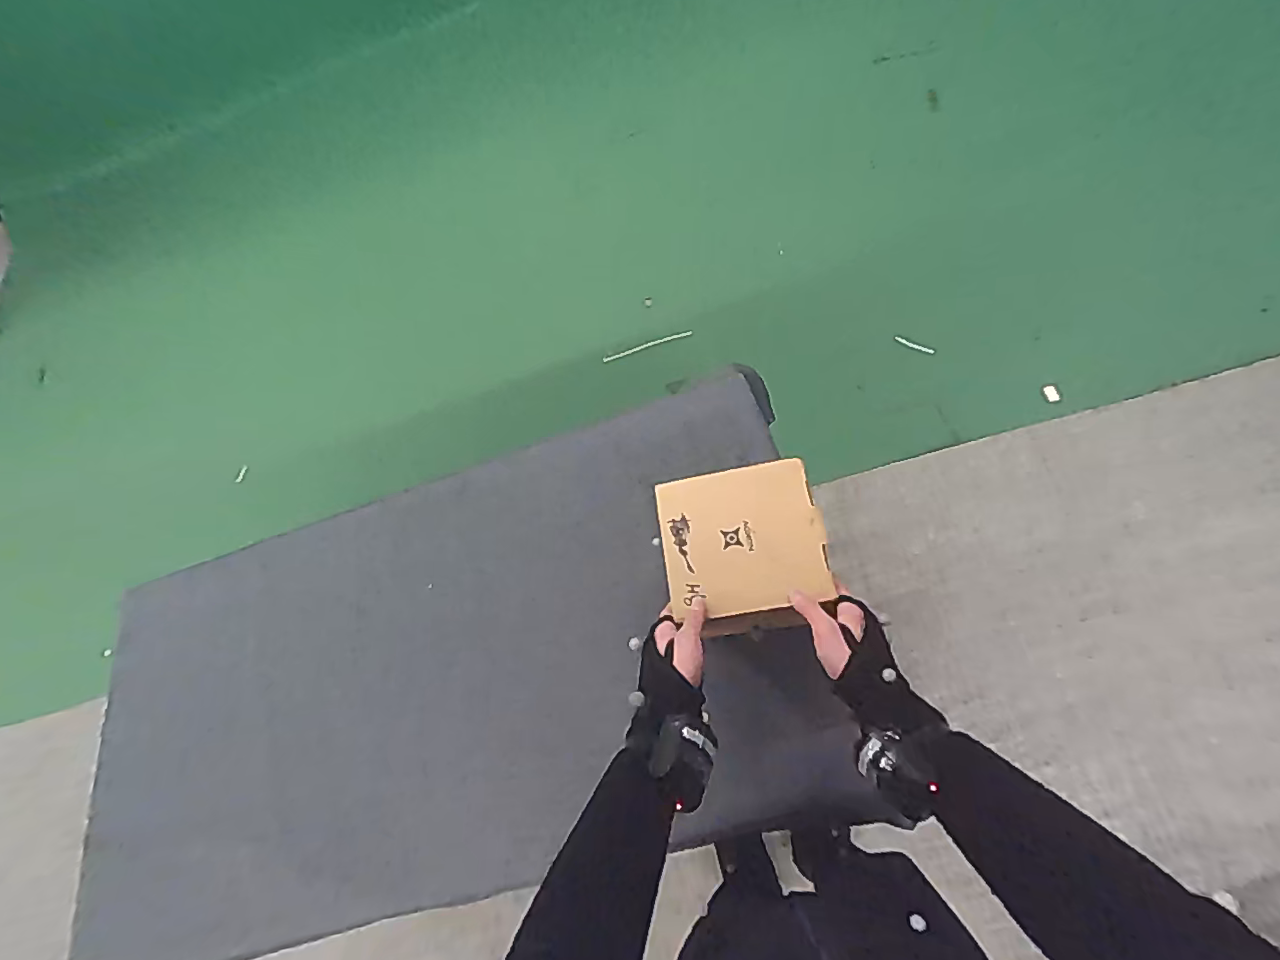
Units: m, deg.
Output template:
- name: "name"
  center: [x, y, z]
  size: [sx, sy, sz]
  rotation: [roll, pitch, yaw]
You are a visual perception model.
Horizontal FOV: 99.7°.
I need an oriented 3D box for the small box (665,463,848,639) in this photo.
- name: "small box"
  center: [0.132, 0.096, 0.663]
  size: [0.179, 0.176, 0.168]
  rotation: [-9, 67, 7]
